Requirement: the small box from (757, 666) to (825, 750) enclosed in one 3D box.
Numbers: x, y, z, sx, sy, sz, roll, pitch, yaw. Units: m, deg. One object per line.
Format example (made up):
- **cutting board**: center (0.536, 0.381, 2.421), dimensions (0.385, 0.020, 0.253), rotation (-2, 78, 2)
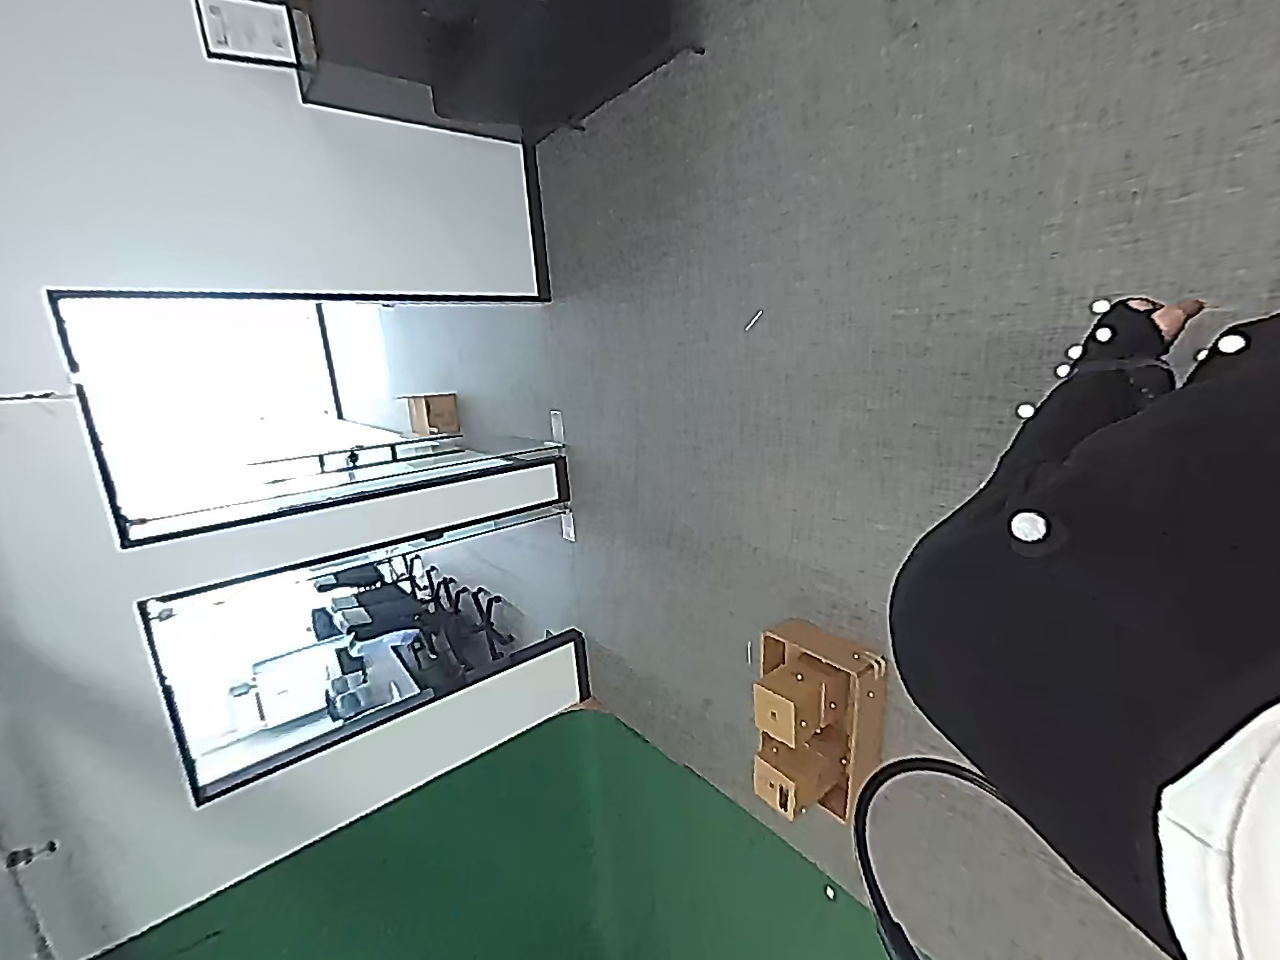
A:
- **small box**: center (0.522, 0.779, 1.863), dimensions (0.168, 0.176, 0.179), rotation (12, 110, 49)
